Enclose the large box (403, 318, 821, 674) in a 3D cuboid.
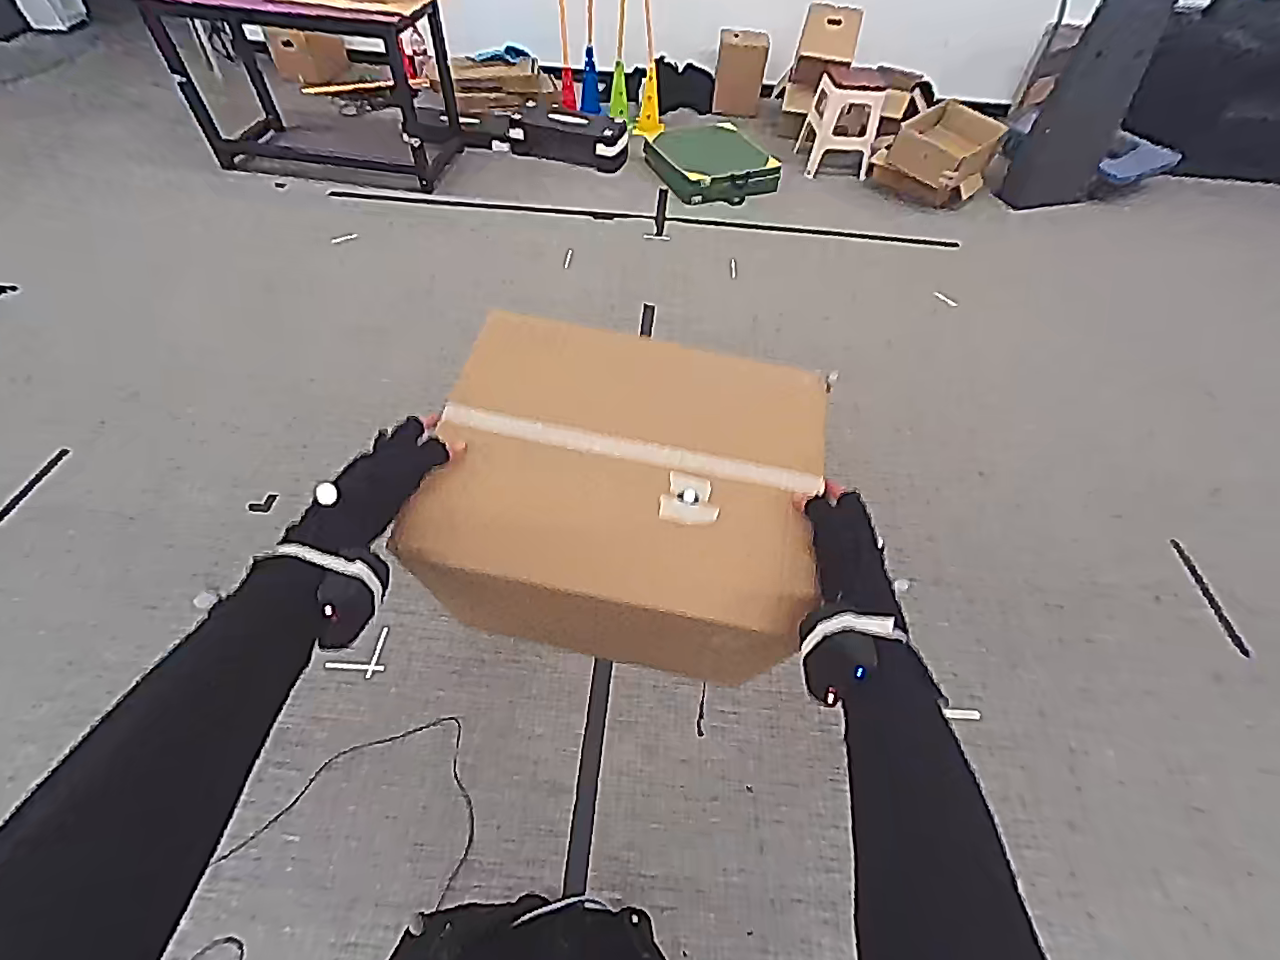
[{"bbox_3d":[-0.019,0.041,0.705,0.408,0.320,0.320,12,64,1],"label":"large box"}]
